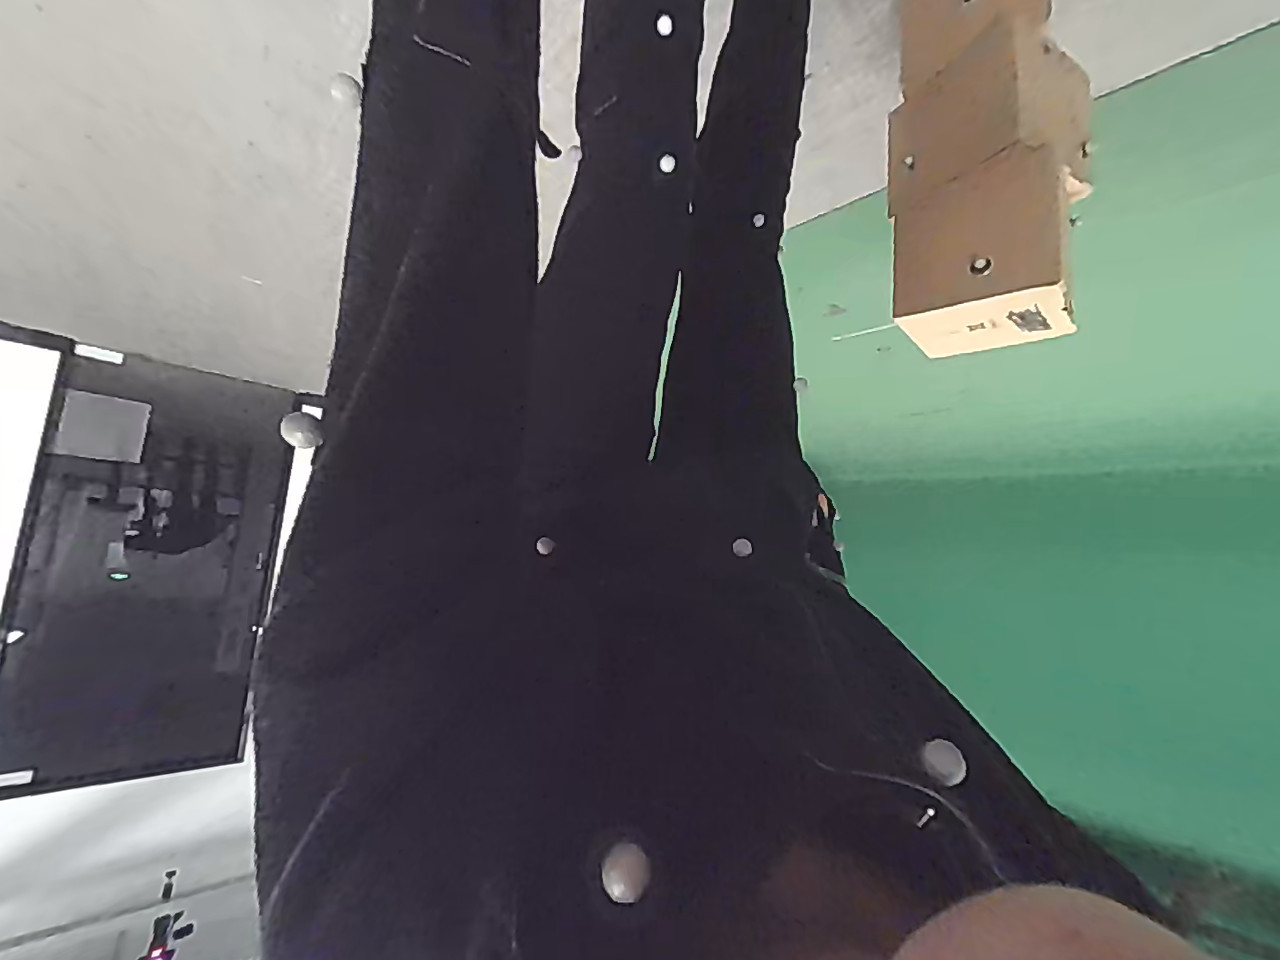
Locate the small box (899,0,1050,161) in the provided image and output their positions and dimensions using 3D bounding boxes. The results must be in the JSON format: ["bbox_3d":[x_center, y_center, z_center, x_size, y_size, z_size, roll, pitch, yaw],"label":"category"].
[{"bbox_3d":[0.467,-0.605,0.761,0.168,0.176,0.179,-1,169,35],"label":"small box"}]

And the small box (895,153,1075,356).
[{"bbox_3d":[0.447,-0.281,0.706,0.179,0.176,0.168,-2,170,43],"label":"small box"}]
